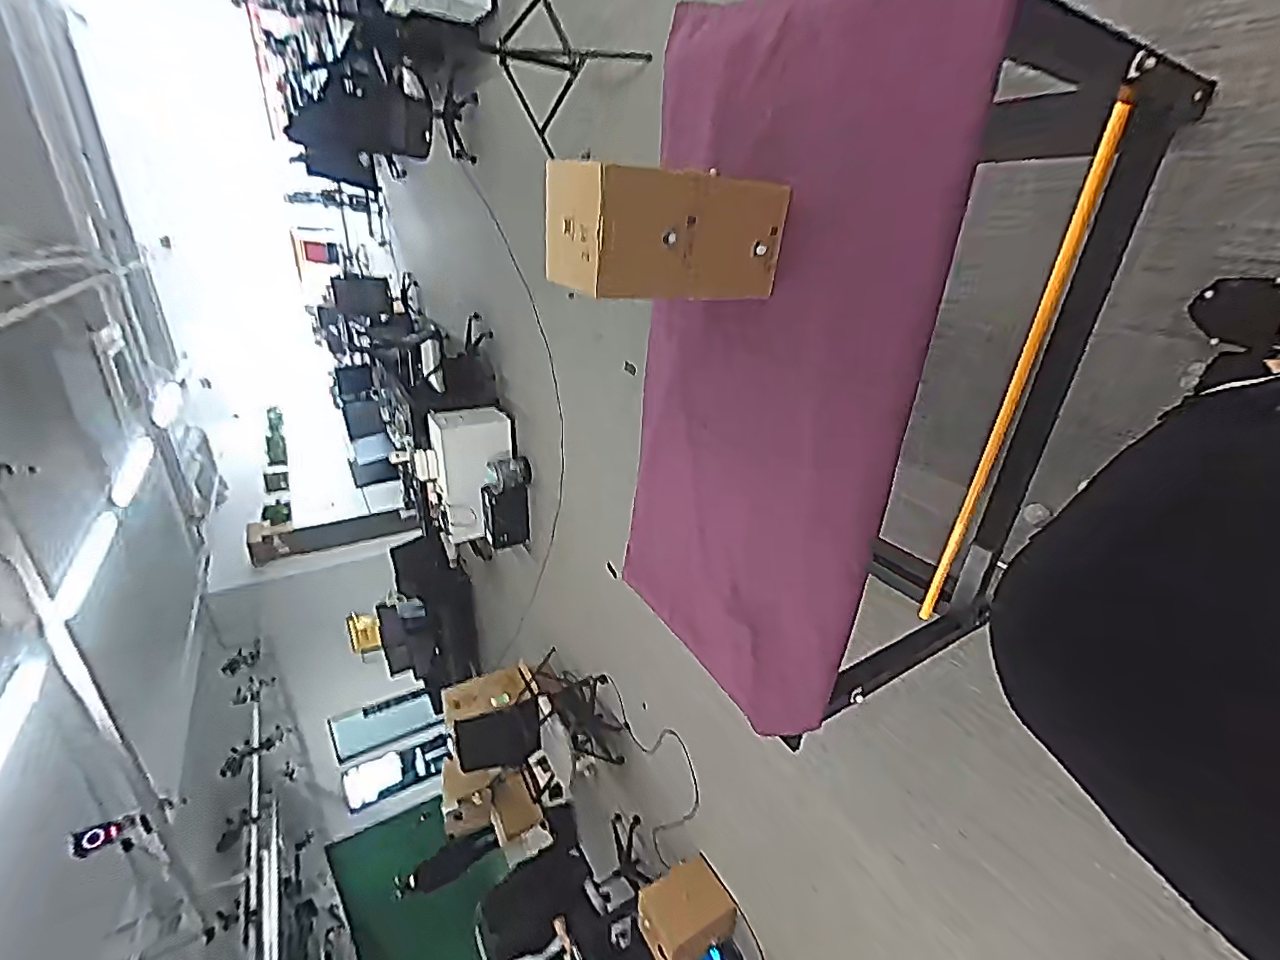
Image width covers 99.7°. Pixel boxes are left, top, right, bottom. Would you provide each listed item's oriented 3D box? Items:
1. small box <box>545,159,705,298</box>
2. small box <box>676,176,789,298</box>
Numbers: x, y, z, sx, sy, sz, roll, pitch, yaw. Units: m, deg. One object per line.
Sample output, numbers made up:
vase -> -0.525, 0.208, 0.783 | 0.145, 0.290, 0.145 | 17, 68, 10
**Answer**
small box -> -0.030, -0.370, 0.797 | 0.179, 0.176, 0.168 | 40, 134, 47
small box -> 0.110, -0.398, 0.881 | 0.179, 0.176, 0.168 | 40, 134, 46
